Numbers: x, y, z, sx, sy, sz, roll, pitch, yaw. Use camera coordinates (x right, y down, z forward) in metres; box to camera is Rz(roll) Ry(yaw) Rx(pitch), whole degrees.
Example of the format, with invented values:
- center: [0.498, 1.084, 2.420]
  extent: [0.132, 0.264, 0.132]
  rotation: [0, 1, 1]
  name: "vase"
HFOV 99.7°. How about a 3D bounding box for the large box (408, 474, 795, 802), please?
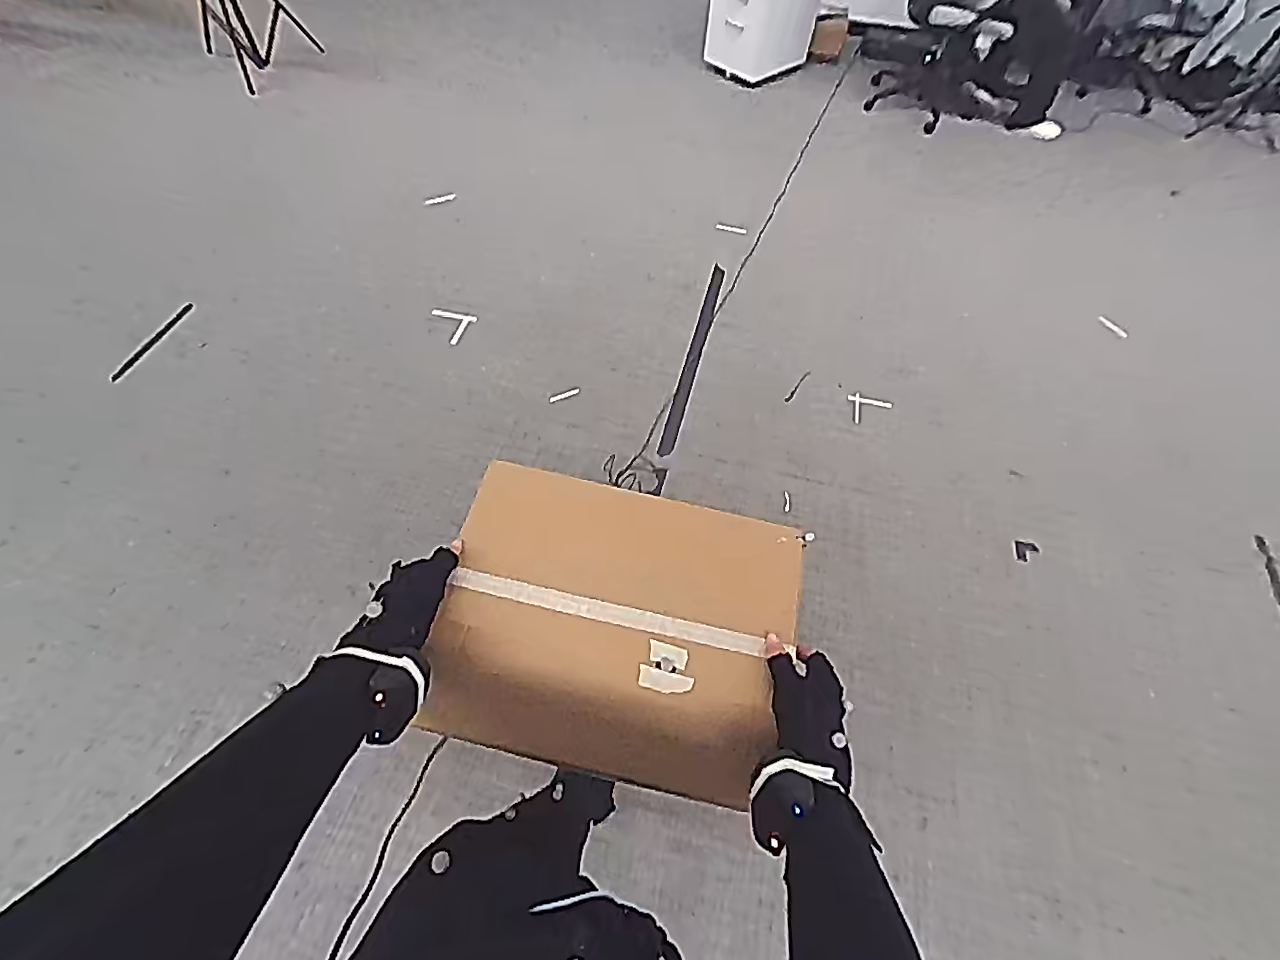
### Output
- center: [-0.036, 0.232, 0.761]
  extent: [0.408, 0.320, 0.320]
  rotation: [13, 62, 2]
  name: "large box"
